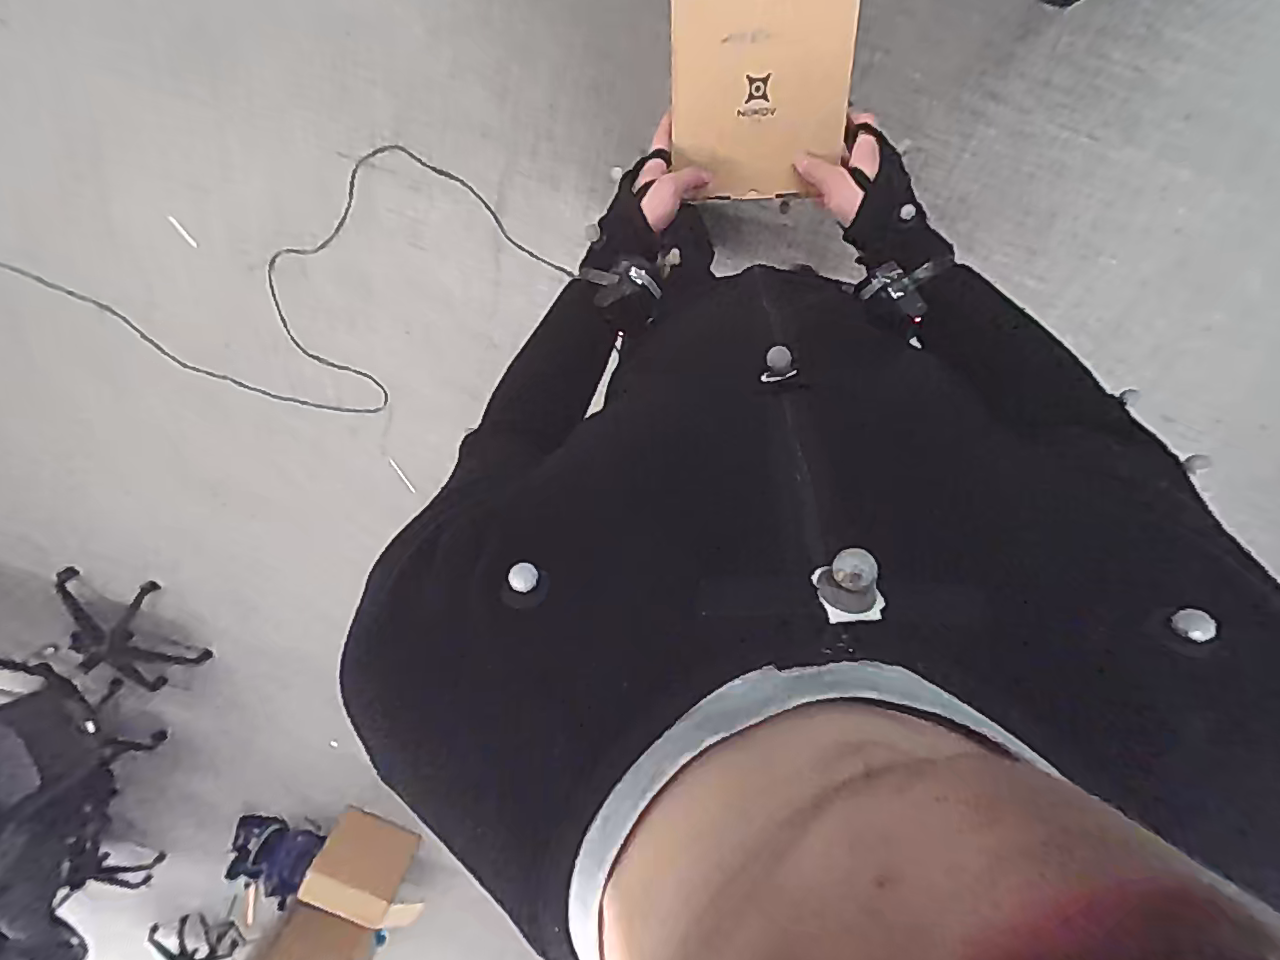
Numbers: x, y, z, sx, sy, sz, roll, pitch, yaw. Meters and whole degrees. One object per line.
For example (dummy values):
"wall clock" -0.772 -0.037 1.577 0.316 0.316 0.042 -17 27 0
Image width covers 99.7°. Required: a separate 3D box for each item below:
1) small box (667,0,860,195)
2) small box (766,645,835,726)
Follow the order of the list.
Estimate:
"small box" 0.120 -0.395 0.558 0.168 0.176 0.179 3 115 9
"small box" 0.541 0.699 1.856 0.168 0.176 0.179 17 118 -1
